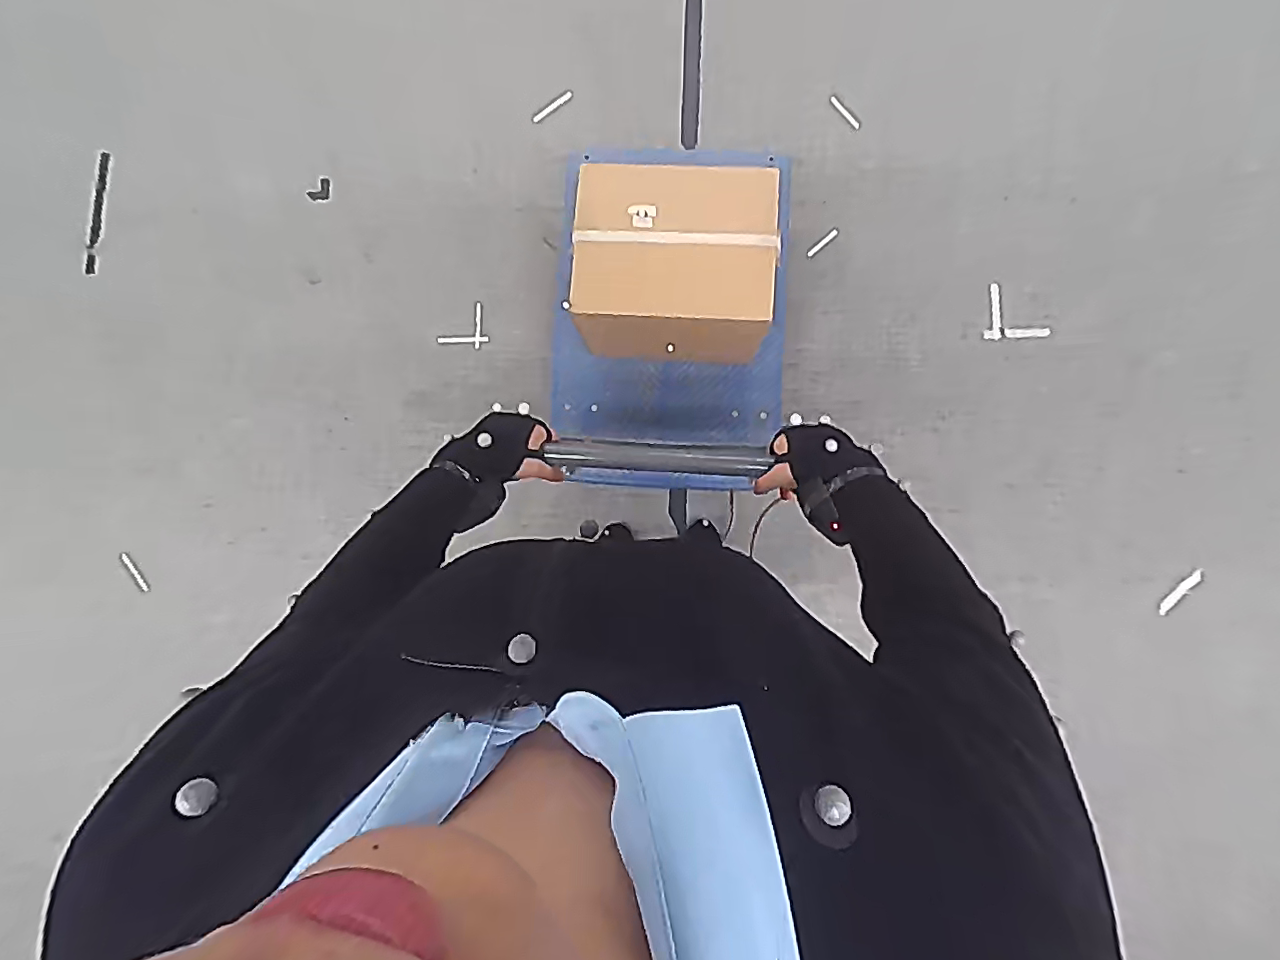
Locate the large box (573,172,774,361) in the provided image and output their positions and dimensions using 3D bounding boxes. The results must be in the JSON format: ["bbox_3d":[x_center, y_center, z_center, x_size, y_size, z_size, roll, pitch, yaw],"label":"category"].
[{"bbox_3d":[0.081,-0.468,1.245,0.408,0.320,0.320,3,85,5],"label":"large box"}]
